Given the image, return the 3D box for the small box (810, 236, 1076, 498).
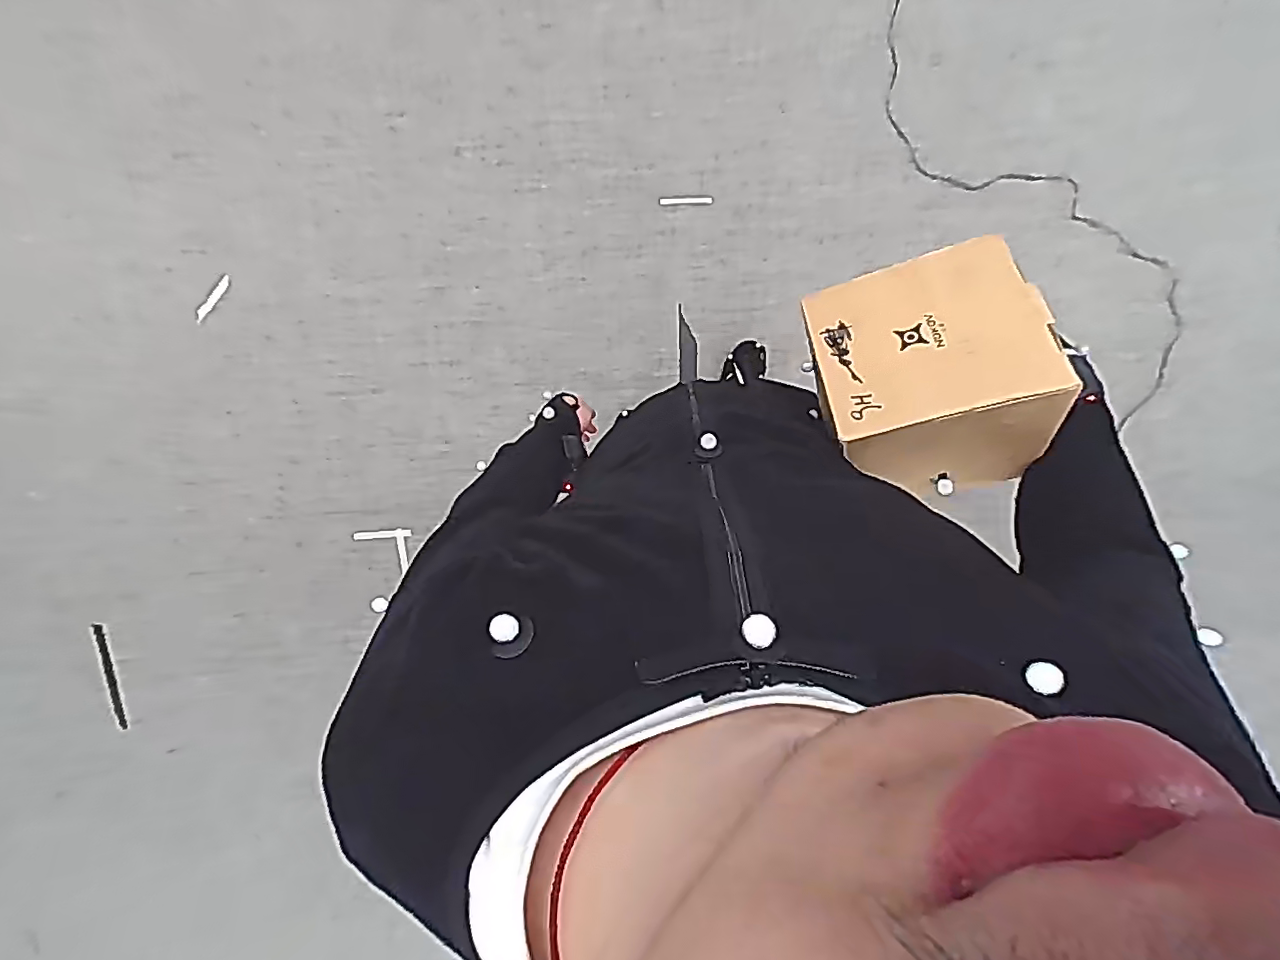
[{"bbox_3d":[0.280,-0.098,0.542,0.179,0.176,0.168,-13,61,18],"label":"small box"}]
